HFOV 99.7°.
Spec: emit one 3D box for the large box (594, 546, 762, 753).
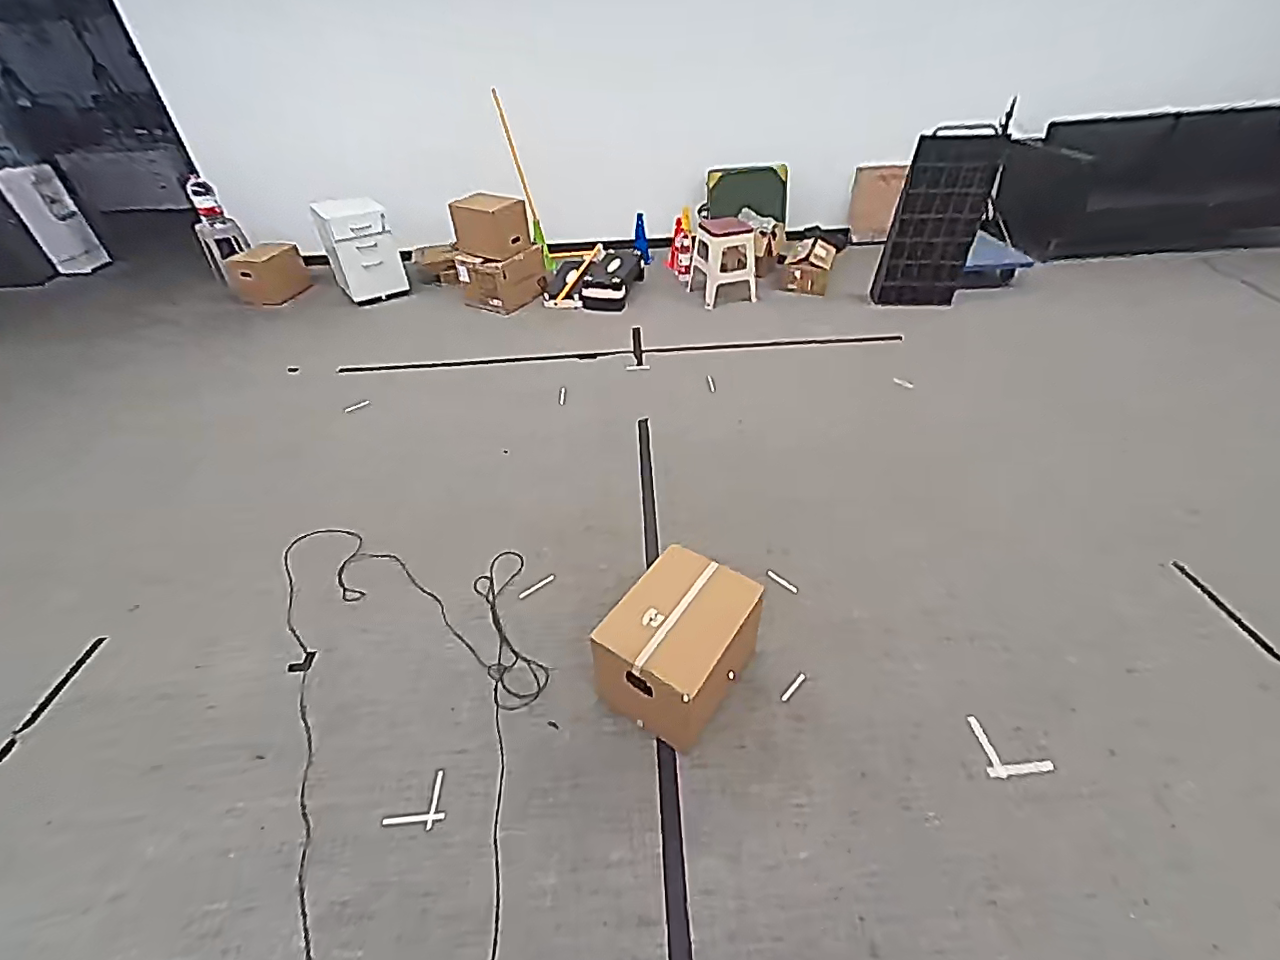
[{"bbox_3d":[0.117,0.473,1.557,0.320,0.320,0.408,23,47,27],"label":"large box"}]
